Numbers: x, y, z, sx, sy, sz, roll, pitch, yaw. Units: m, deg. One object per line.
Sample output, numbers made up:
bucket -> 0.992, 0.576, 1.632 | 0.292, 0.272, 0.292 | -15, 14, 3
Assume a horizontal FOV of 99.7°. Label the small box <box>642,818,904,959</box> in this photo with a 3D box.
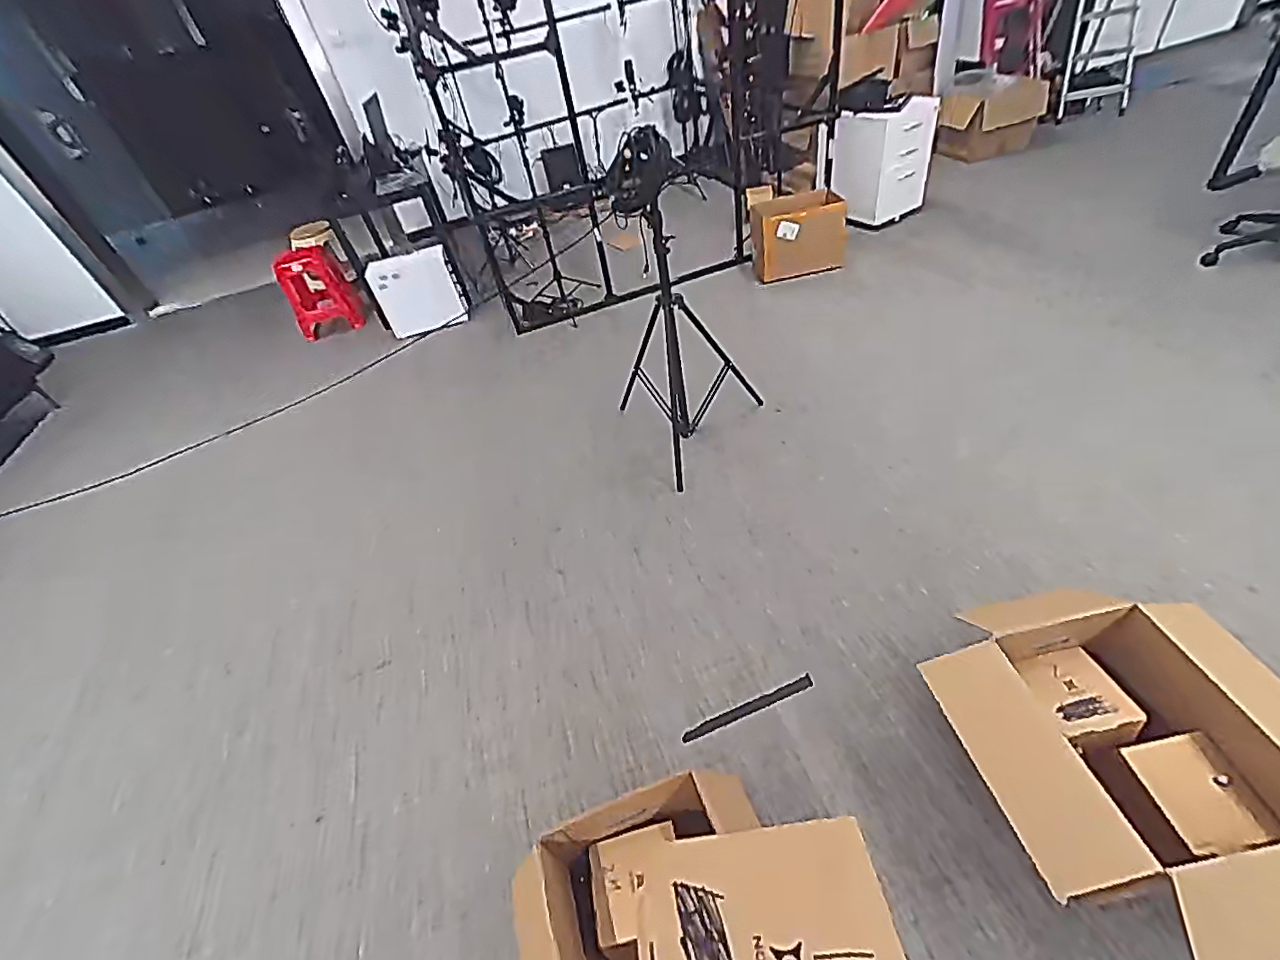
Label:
small box -> 0.105, 0.396, 0.425 | 0.179, 0.176, 0.168 | -9, 41, 0
